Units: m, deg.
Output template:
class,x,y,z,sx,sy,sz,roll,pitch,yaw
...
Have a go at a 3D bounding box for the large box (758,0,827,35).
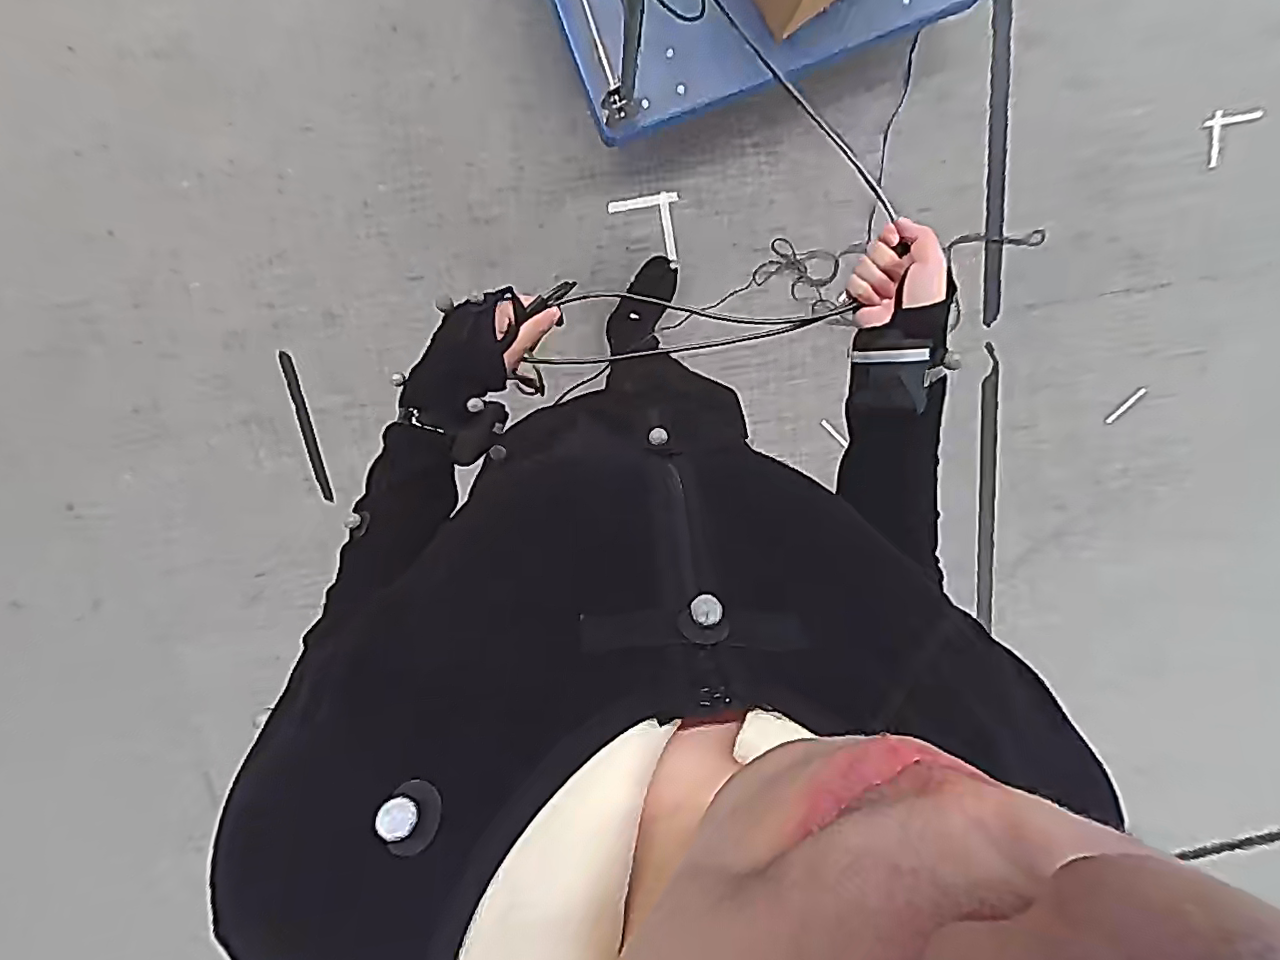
class,x,y,z,sx,sy,sz,roll,pitch,yaw
large box,0.303,-1.112,0.909,0.320,0.320,0.408,-35,105,5
